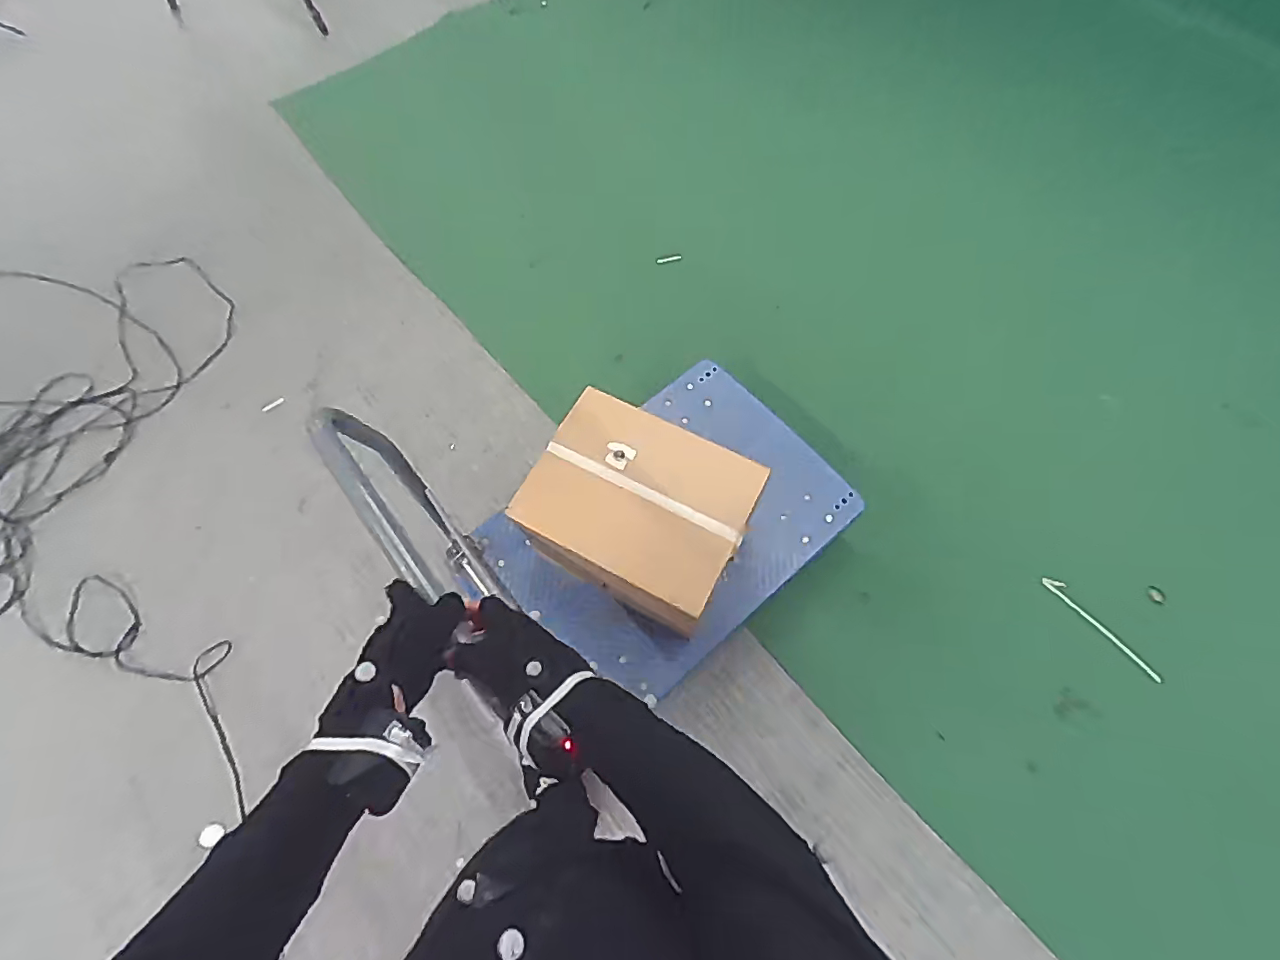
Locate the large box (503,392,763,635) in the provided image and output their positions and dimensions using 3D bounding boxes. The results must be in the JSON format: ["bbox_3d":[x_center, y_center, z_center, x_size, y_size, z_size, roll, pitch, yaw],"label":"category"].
[{"bbox_3d":[-0.002,0.084,1.145,0.408,0.320,0.320,27,71,14],"label":"large box"}]
